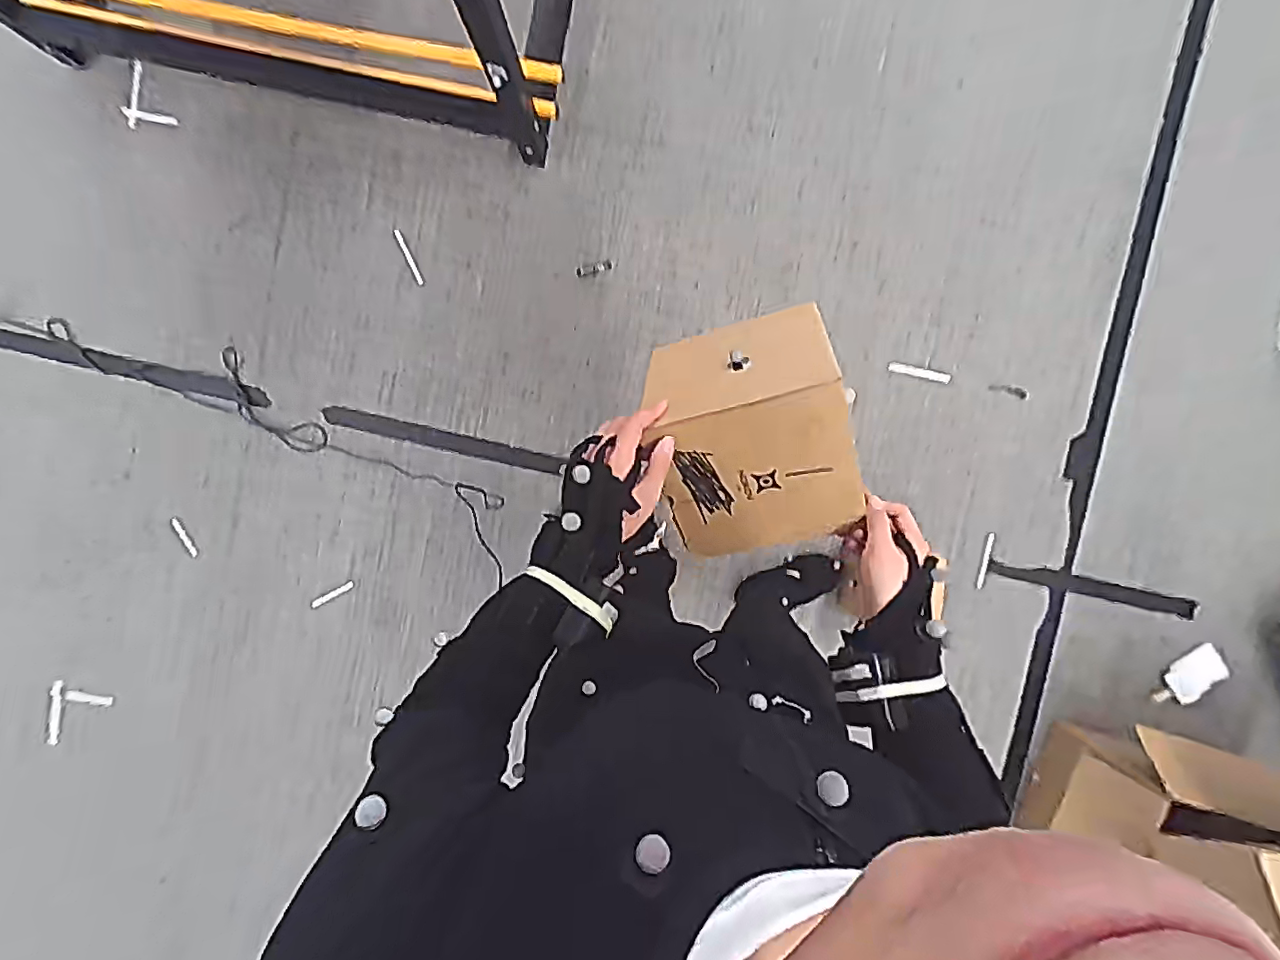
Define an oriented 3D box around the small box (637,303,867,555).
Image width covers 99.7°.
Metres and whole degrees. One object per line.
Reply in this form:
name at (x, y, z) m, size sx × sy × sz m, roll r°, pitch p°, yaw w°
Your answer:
small box at (0.114, -0.052, 0.544) m, size 0.179 × 0.176 × 0.168 m, roll -13°, pitch 127°, yaw 18°
